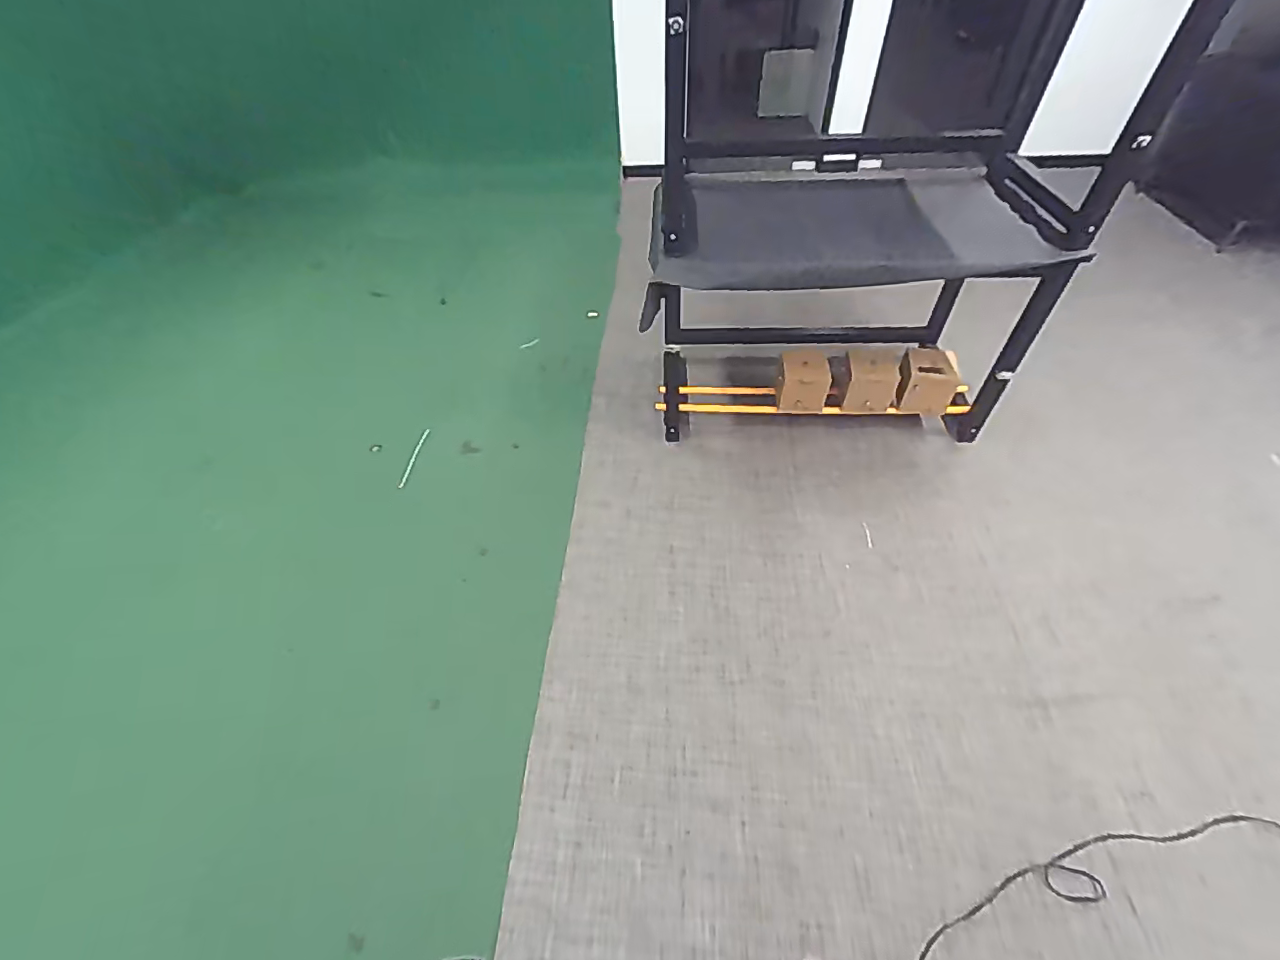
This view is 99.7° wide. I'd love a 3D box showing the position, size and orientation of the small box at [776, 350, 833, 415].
[{"bbox_3d":[0.611,-0.367,2.032,0.168,0.176,0.179,2,51,4],"label":"small box"}]
